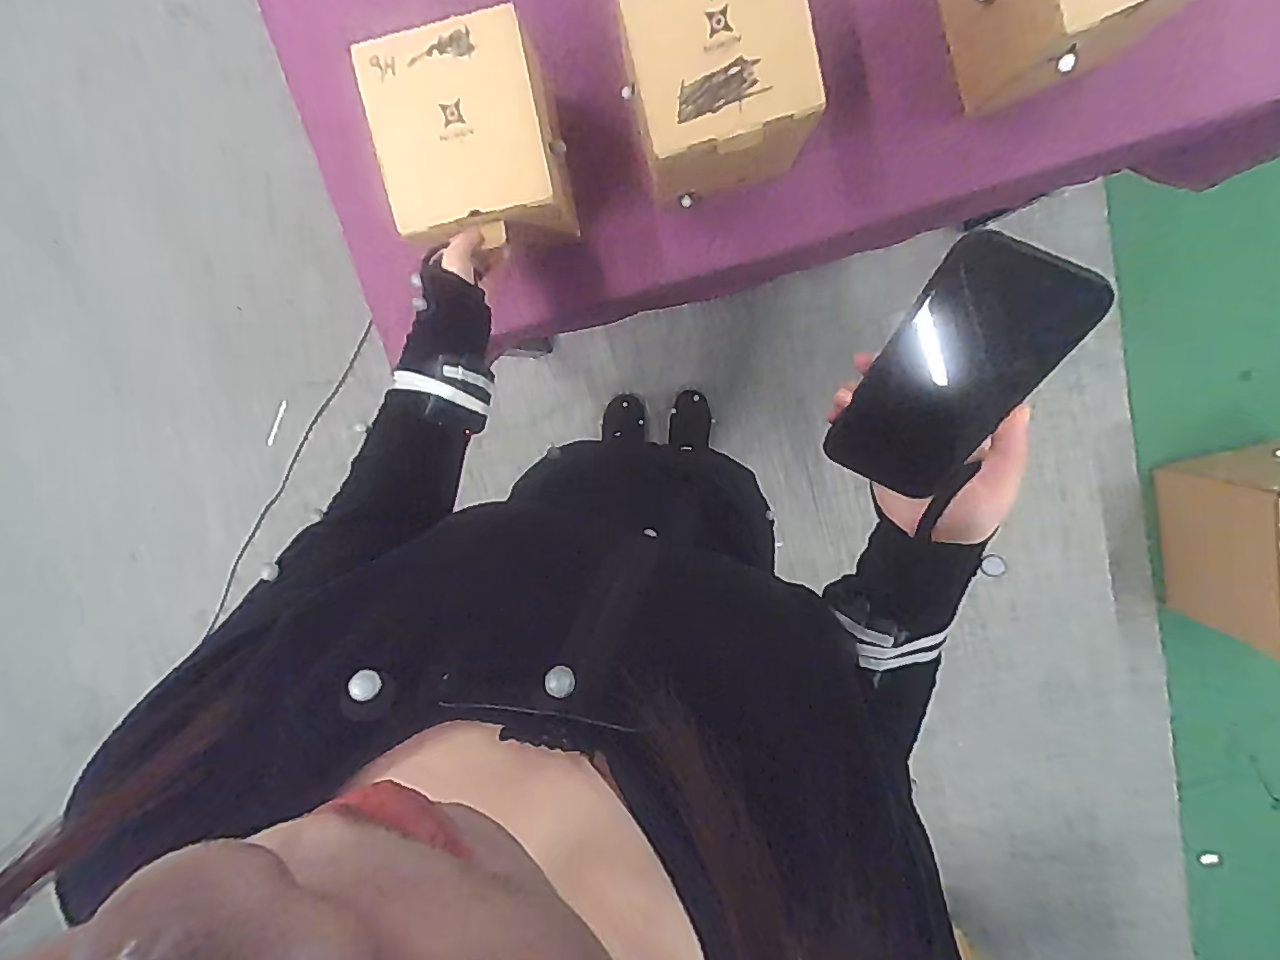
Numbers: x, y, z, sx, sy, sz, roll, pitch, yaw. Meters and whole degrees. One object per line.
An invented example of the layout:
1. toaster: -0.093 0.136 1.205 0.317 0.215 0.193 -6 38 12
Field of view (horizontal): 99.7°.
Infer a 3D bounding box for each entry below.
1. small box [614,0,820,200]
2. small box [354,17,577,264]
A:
1. small box: 0.076 -0.422 0.577 0.168 0.176 0.179 -14 99 6
2. small box: -0.175 -0.352 0.604 0.168 0.176 0.179 -10 101 5
